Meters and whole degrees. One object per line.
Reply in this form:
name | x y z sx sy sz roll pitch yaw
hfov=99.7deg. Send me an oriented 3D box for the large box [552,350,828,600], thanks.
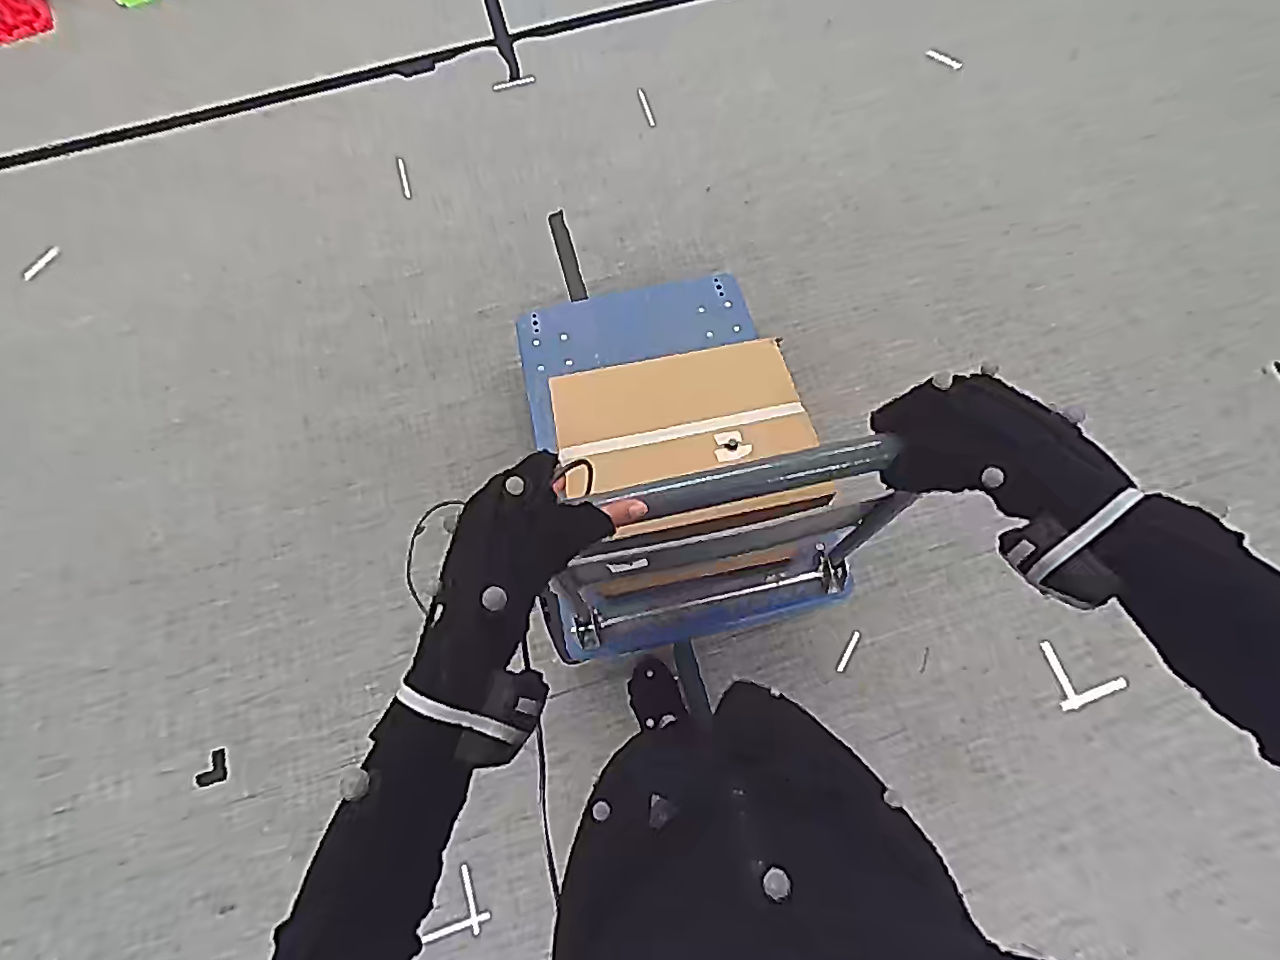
large box | 0.073 0.004 1.025 0.408 0.320 0.320 -11 64 -4
